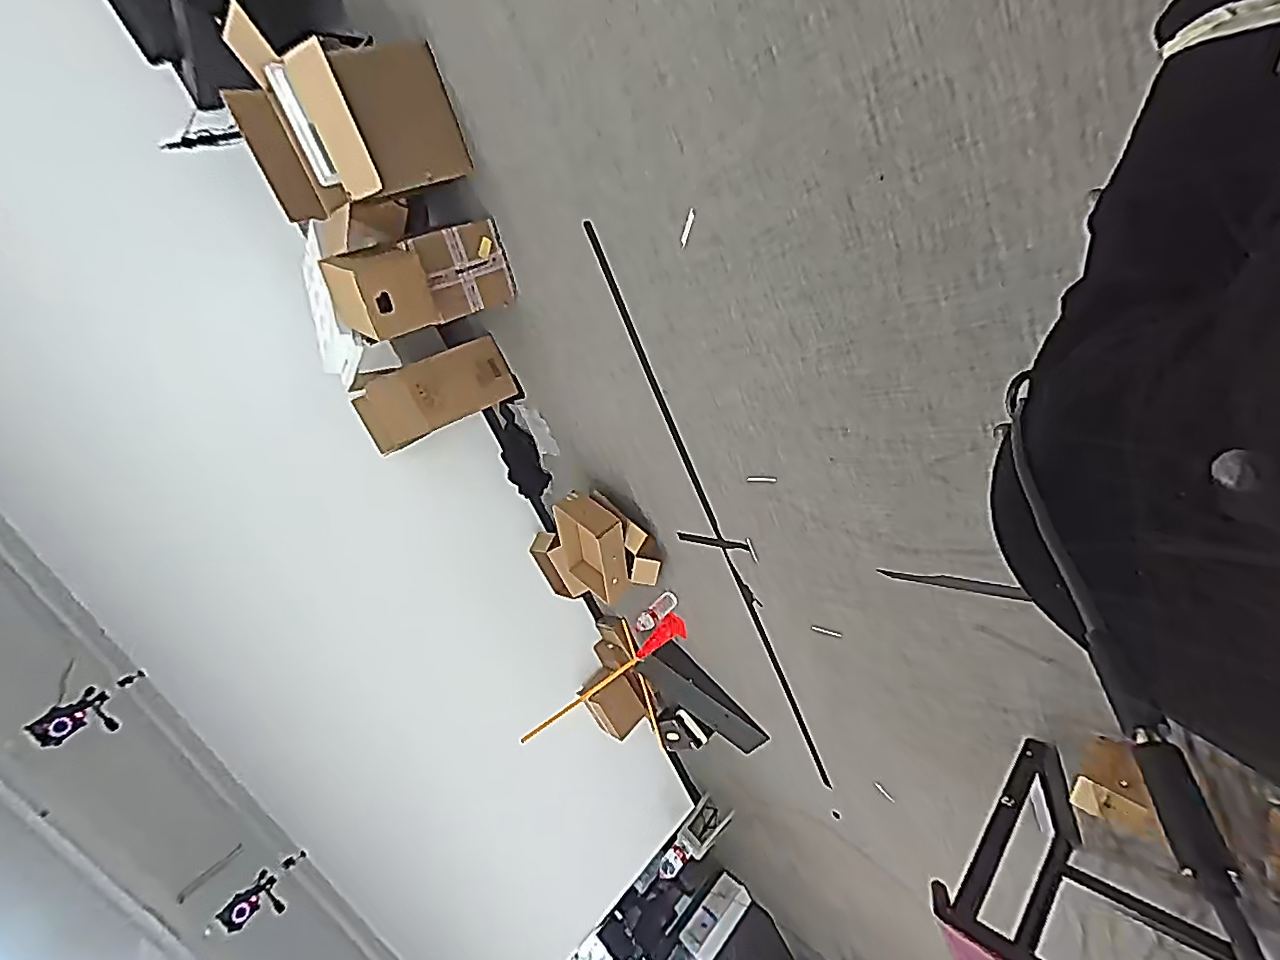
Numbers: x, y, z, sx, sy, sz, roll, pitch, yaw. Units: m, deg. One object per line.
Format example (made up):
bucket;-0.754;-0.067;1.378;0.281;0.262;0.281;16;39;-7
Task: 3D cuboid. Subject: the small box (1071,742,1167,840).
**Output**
small box;1.483;0.950;1.675;0.179;0.176;0.168;20;135;42
